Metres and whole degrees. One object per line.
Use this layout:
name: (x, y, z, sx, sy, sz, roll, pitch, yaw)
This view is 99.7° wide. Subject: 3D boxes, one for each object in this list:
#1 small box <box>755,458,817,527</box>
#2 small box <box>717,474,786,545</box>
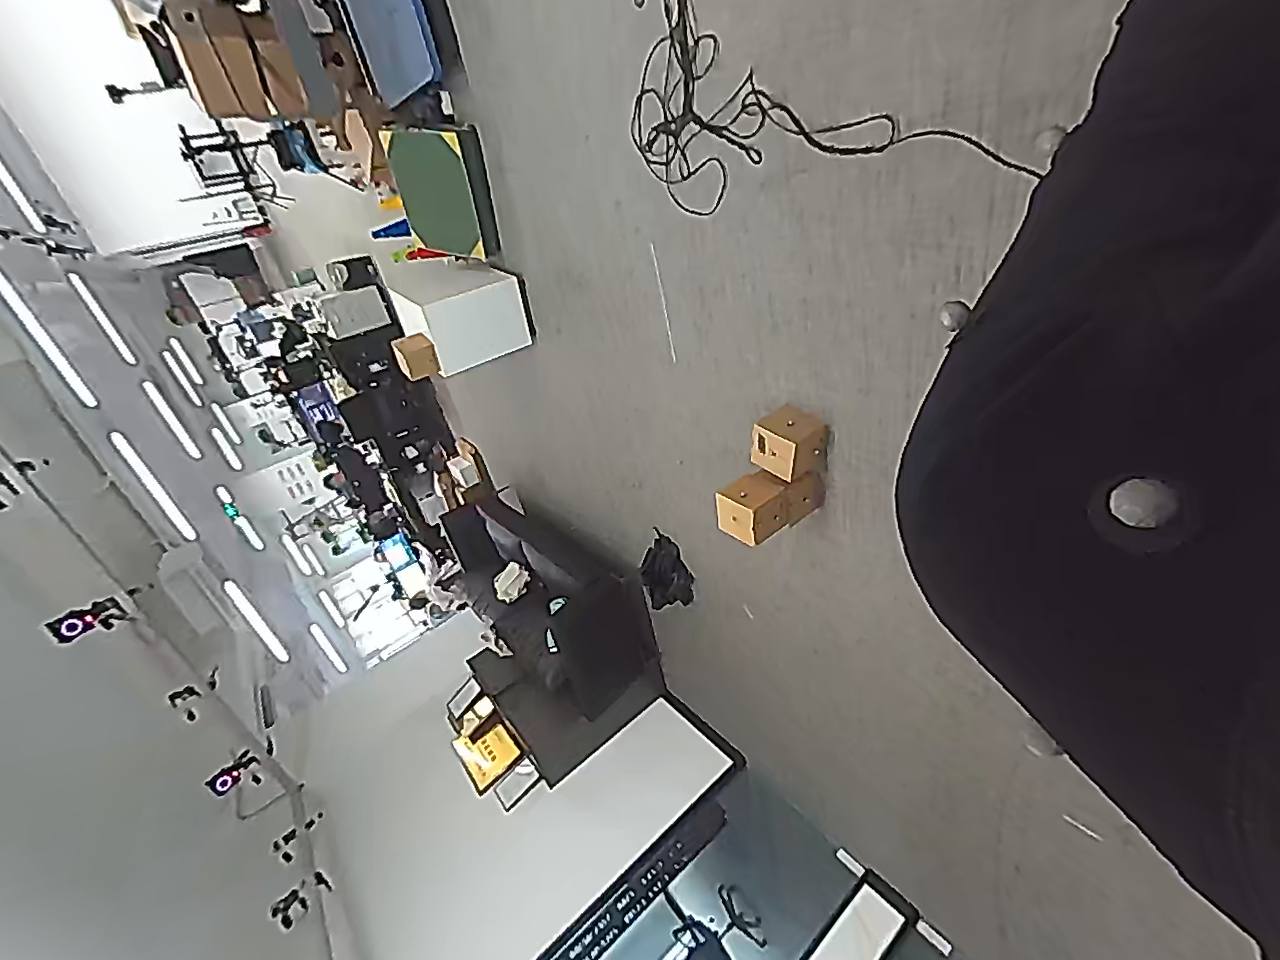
small box: (0.533, 0.039, 1.994, 0.179, 0.176, 0.168, 27, 139, 45)
small box: (0.397, 0.097, 1.923, 0.179, 0.176, 0.168, 28, 138, 45)
